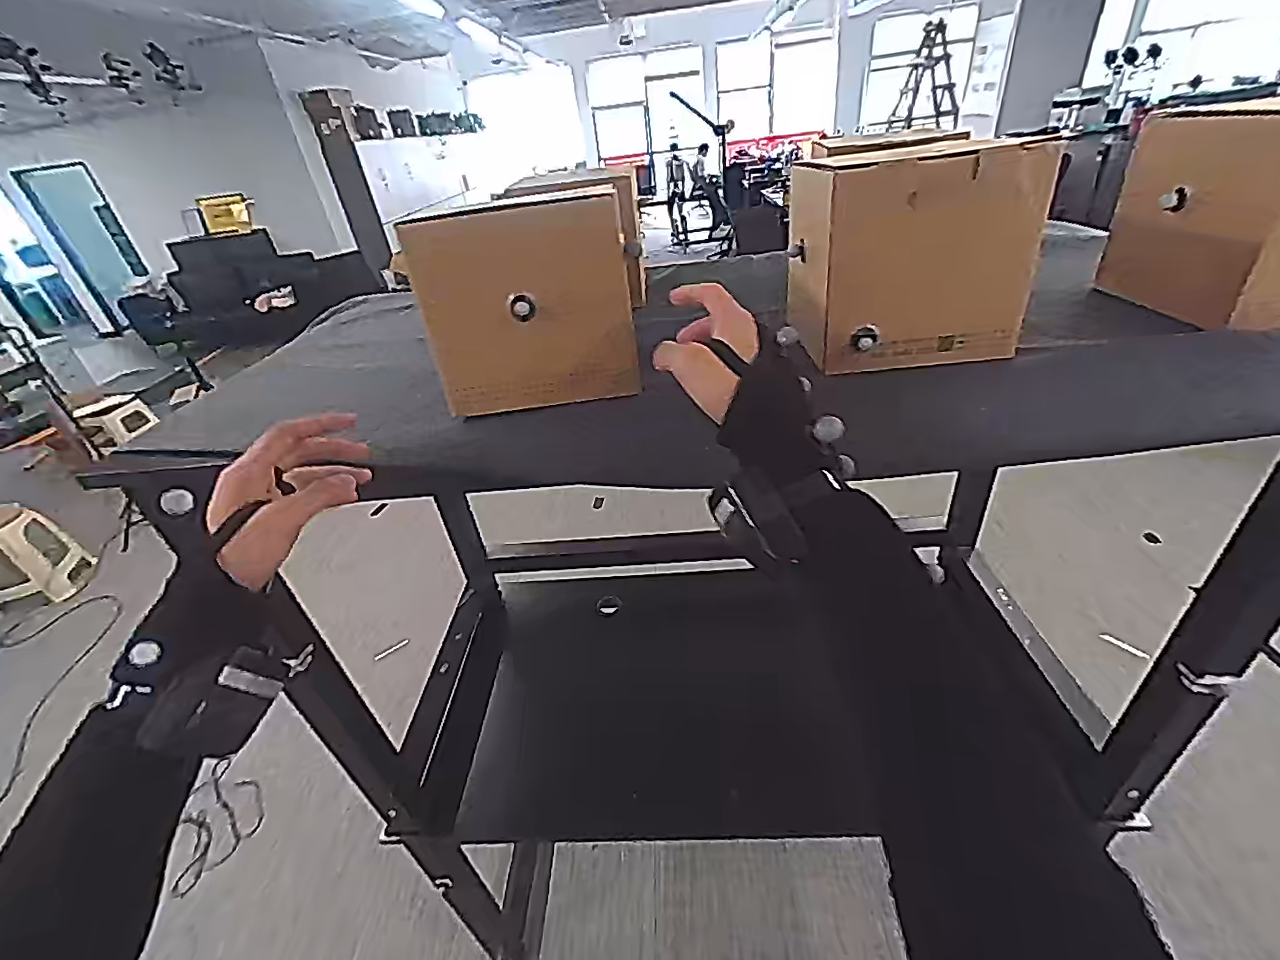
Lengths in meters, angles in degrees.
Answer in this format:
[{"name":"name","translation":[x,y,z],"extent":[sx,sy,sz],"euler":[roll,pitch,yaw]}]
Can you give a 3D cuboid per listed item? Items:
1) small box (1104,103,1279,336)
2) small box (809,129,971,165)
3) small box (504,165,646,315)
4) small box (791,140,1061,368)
[{"name":"small box","translation":[0.579,-0.240,0.488],"extent":[0.168,0.176,0.179],"euler":[-5,32,5]},{"name":"small box","translation":[0.330,-0.380,0.759],"extent":[0.168,0.176,0.179],"euler":[-1,33,9]},{"name":"small box","translation":[-0.081,-0.345,0.784],"extent":[0.168,0.176,0.179],"euler":[-4,34,4]},{"name":"small box","translation":[0.241,-0.209,0.511],"extent":[0.168,0.176,0.179],"euler":[-4,31,6]}]
